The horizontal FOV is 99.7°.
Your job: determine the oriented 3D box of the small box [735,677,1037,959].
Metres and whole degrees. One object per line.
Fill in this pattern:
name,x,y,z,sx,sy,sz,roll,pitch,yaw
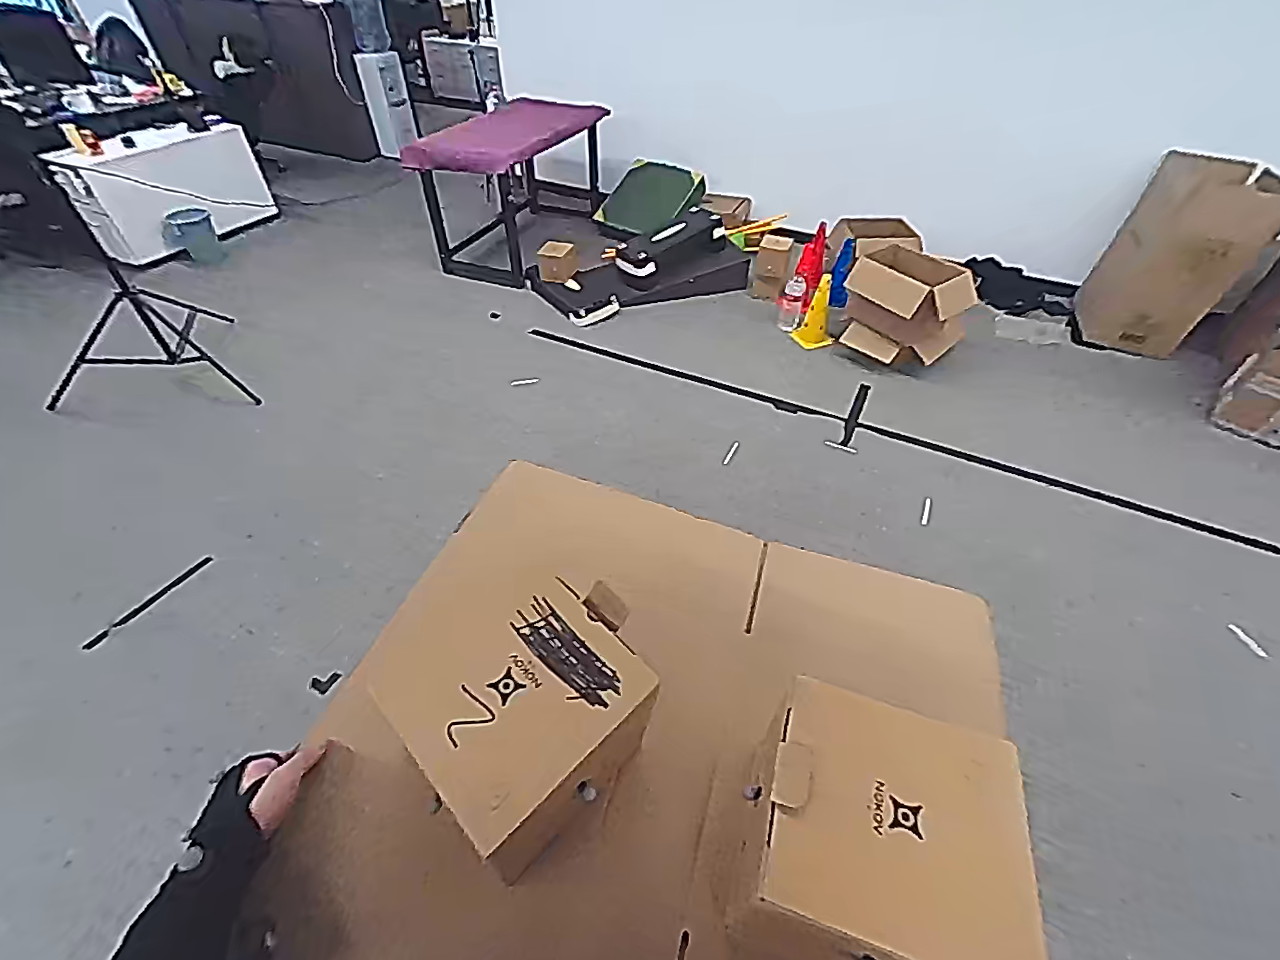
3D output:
small box,0.191,0.303,0.461,0.179,0.176,0.168,13,46,13
